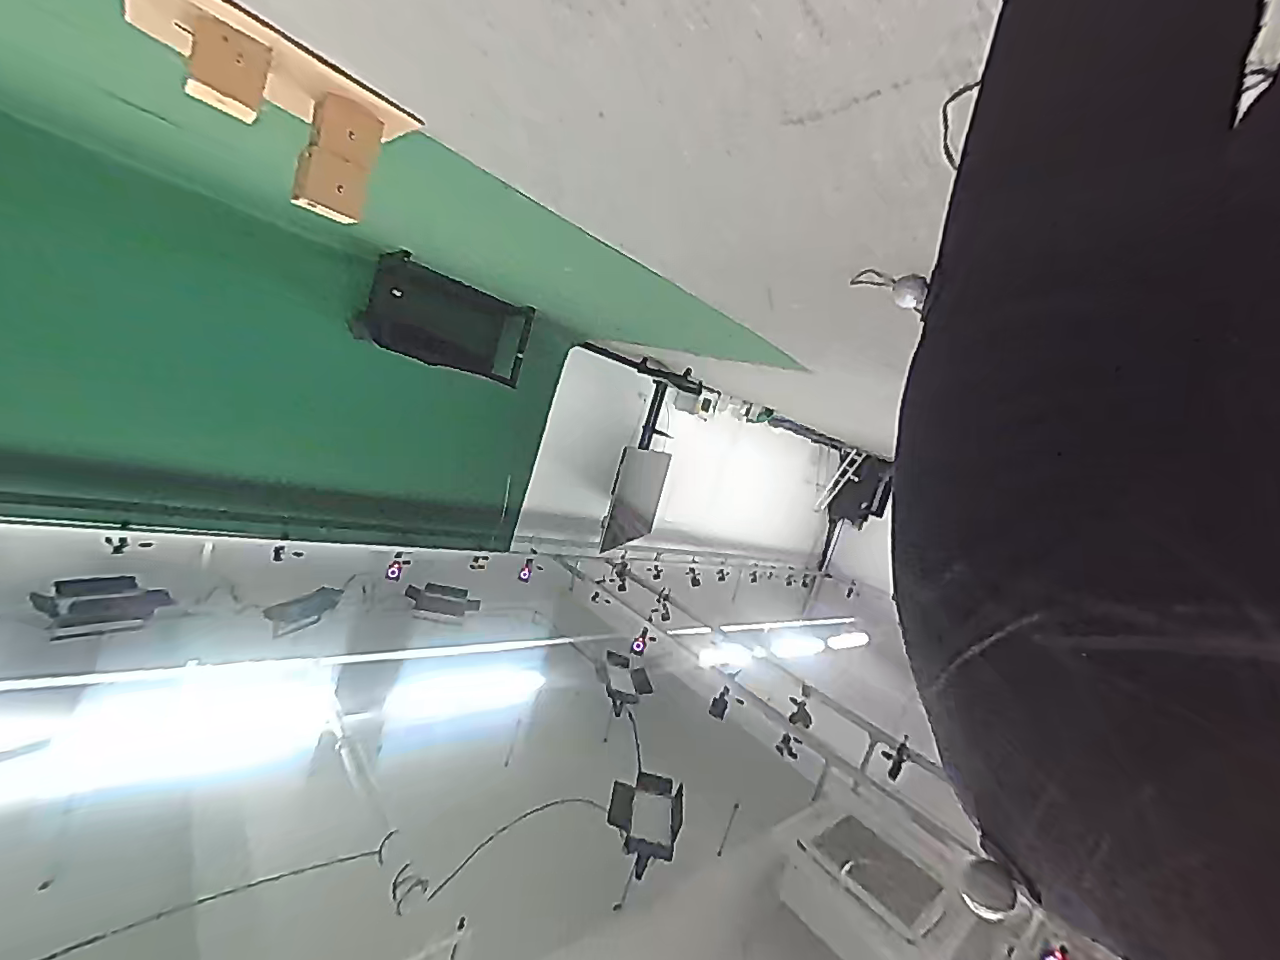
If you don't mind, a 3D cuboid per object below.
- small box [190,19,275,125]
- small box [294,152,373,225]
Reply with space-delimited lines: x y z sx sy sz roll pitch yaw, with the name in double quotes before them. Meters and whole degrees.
"small box" -1.198 -1.192 1.590 0.168 0.176 0.179 12 -173 -45
"small box" -1.039 -0.990 1.834 0.168 0.176 0.179 22 -171 41
